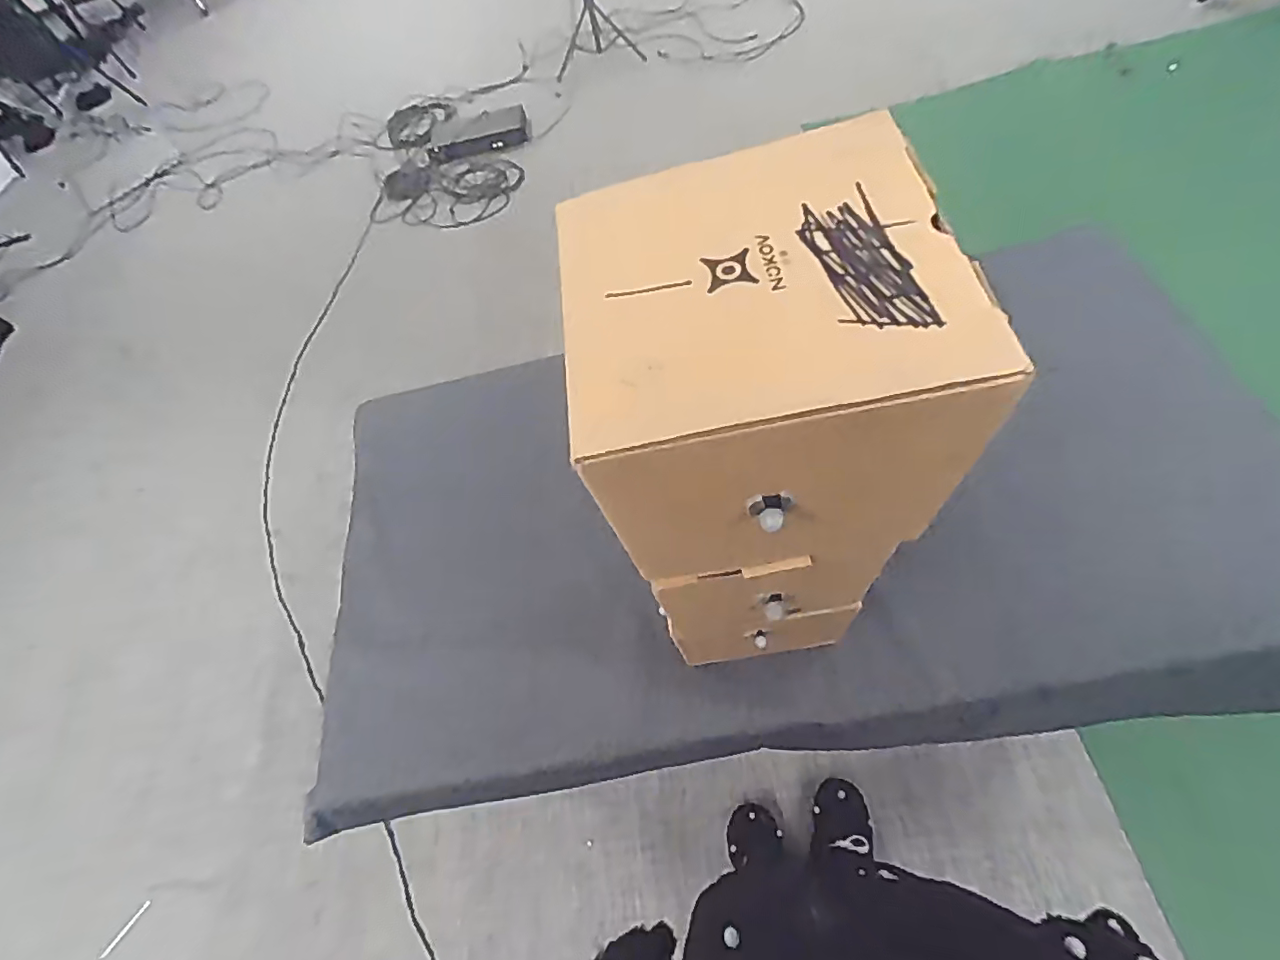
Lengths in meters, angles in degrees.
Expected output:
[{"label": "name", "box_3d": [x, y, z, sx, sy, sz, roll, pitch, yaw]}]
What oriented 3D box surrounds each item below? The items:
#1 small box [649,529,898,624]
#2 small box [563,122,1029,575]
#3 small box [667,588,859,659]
[{"label": "small box", "box_3d": [0.090, 0.016, 0.459, 0.168, 0.176, 0.179, -13, 62, 5]}, {"label": "small box", "box_3d": [0.066, -0.056, 0.312, 0.179, 0.176, 0.168, -11, 61, 7]}, {"label": "small box", "box_3d": [0.119, 0.093, 0.600, 0.179, 0.176, 0.168, -11, 62, 5]}]
